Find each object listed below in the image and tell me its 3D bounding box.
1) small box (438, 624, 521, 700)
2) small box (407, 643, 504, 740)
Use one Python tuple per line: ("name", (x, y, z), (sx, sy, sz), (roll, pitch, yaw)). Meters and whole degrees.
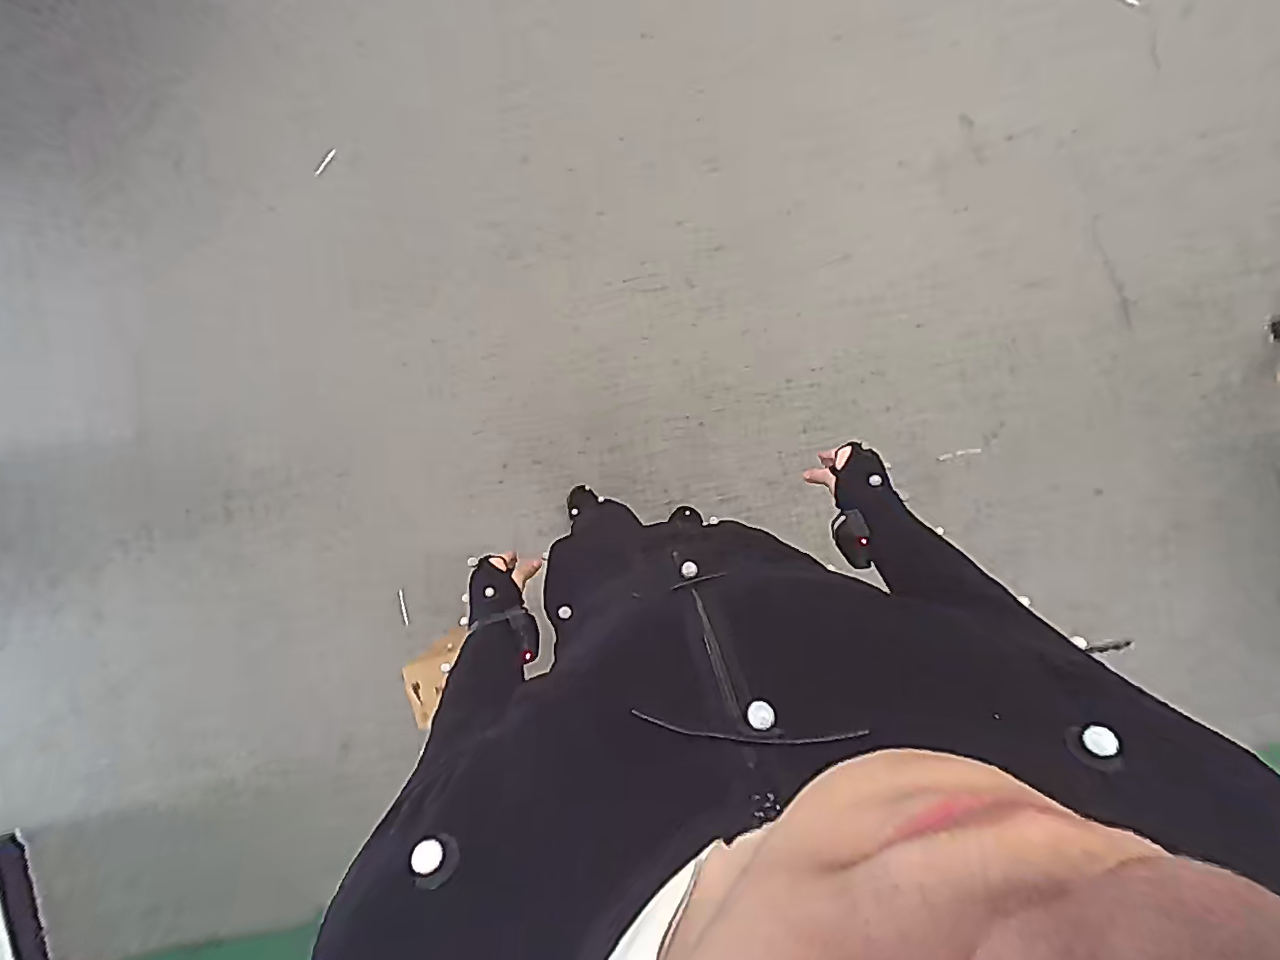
("small box", (-0.461, 0.541, 1.580), (0.168, 0.176, 0.179), (-13, 88, 3))
("small box", (-0.471, 0.544, 1.417), (0.179, 0.176, 0.168), (-16, 88, 3))
